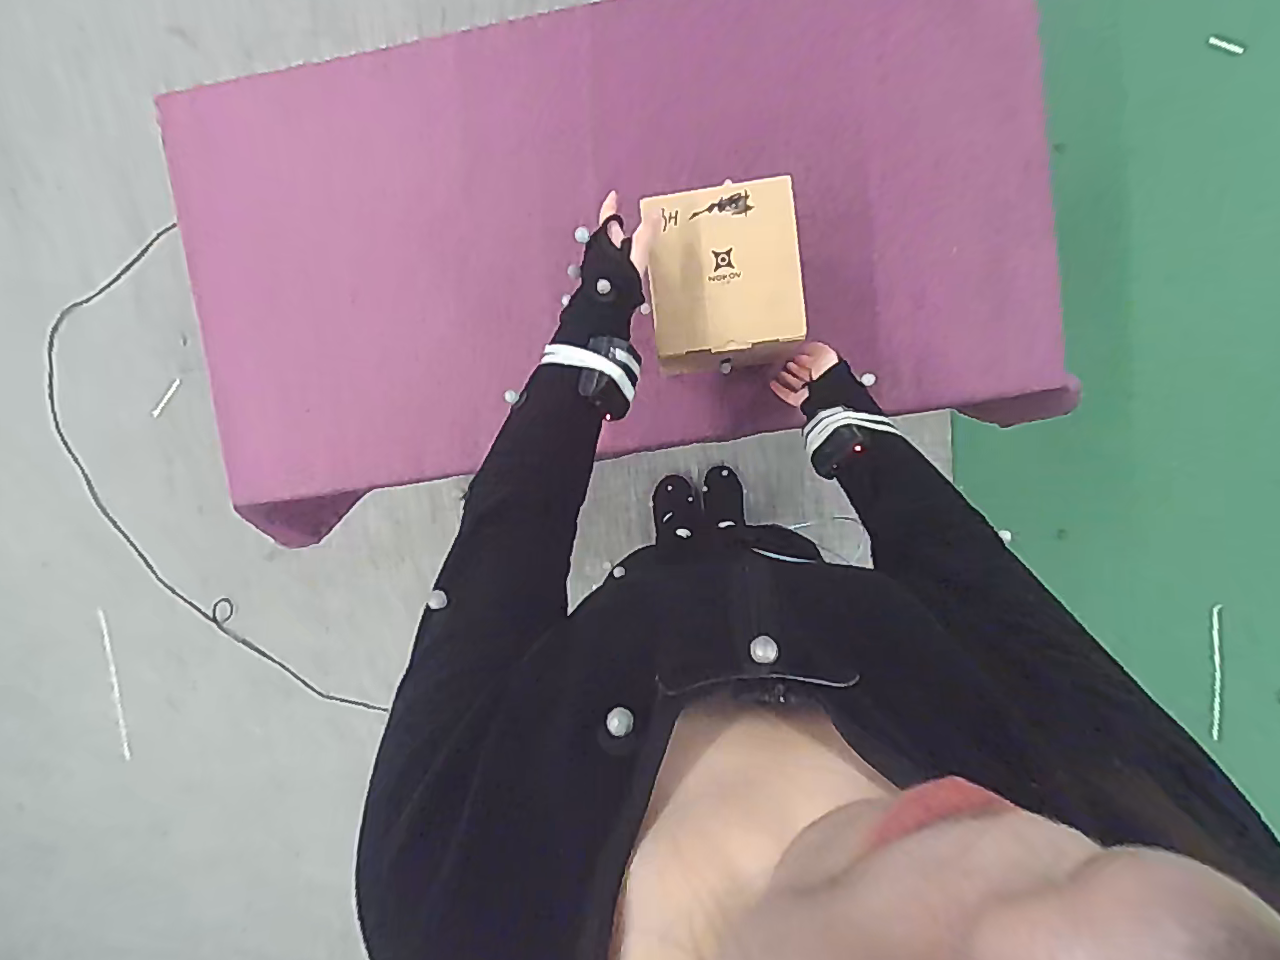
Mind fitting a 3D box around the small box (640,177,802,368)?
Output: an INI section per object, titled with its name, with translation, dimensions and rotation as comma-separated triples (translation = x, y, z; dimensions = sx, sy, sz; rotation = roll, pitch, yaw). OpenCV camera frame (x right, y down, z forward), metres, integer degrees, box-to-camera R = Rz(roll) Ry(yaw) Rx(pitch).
[small box]
translation = 0.095, -0.237, 0.668
dimensions = 0.168, 0.176, 0.179
rotation = -6, 95, 4
